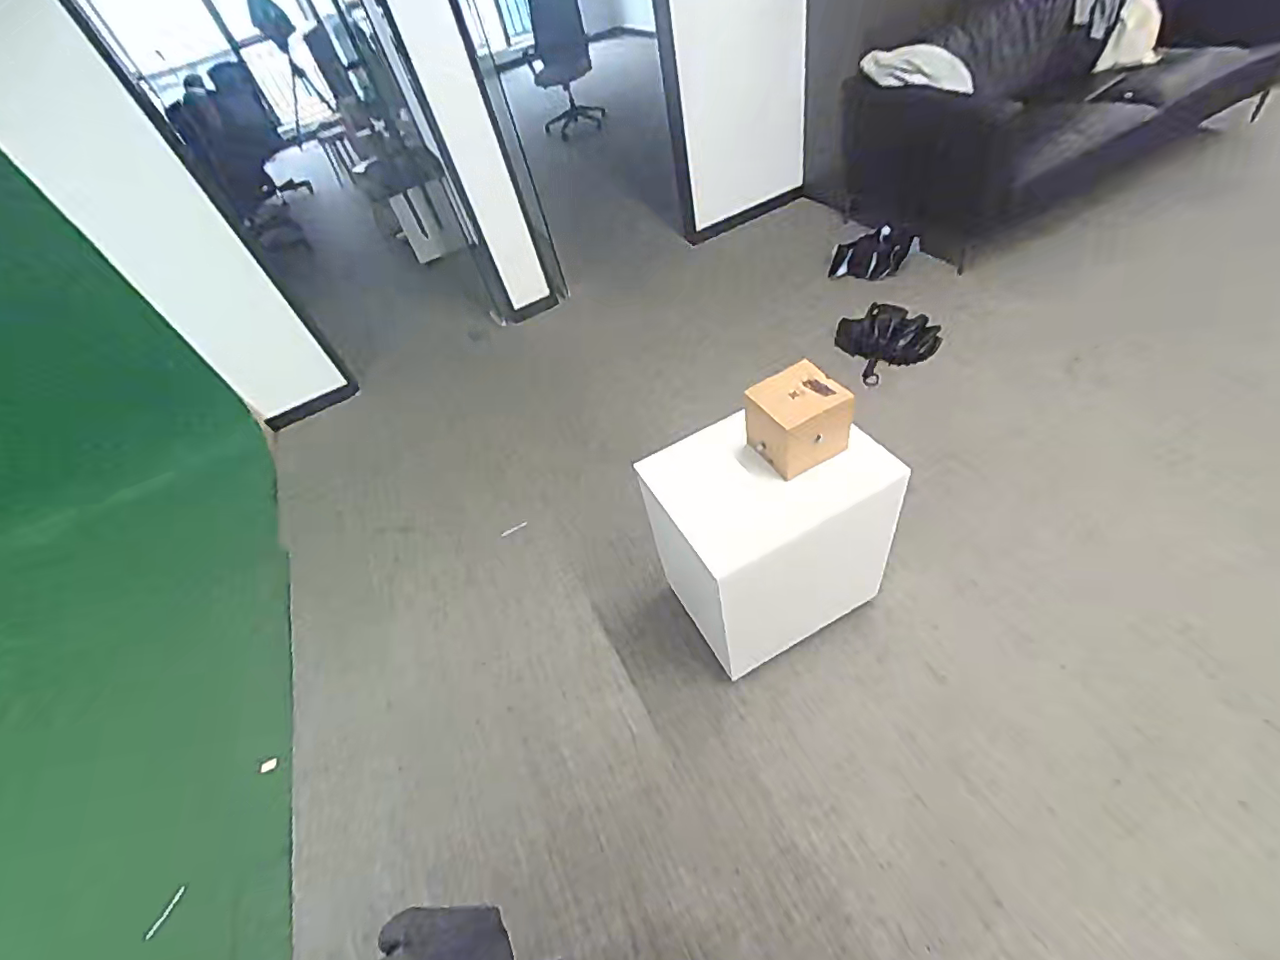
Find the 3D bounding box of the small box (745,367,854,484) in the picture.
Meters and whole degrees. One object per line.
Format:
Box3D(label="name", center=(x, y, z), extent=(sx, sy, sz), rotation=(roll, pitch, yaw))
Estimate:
Box3D(label="small box", center=(0.356, -0.123, 1.240), extent=(0.179, 0.176, 0.168), rotation=(-26, 48, -11))
